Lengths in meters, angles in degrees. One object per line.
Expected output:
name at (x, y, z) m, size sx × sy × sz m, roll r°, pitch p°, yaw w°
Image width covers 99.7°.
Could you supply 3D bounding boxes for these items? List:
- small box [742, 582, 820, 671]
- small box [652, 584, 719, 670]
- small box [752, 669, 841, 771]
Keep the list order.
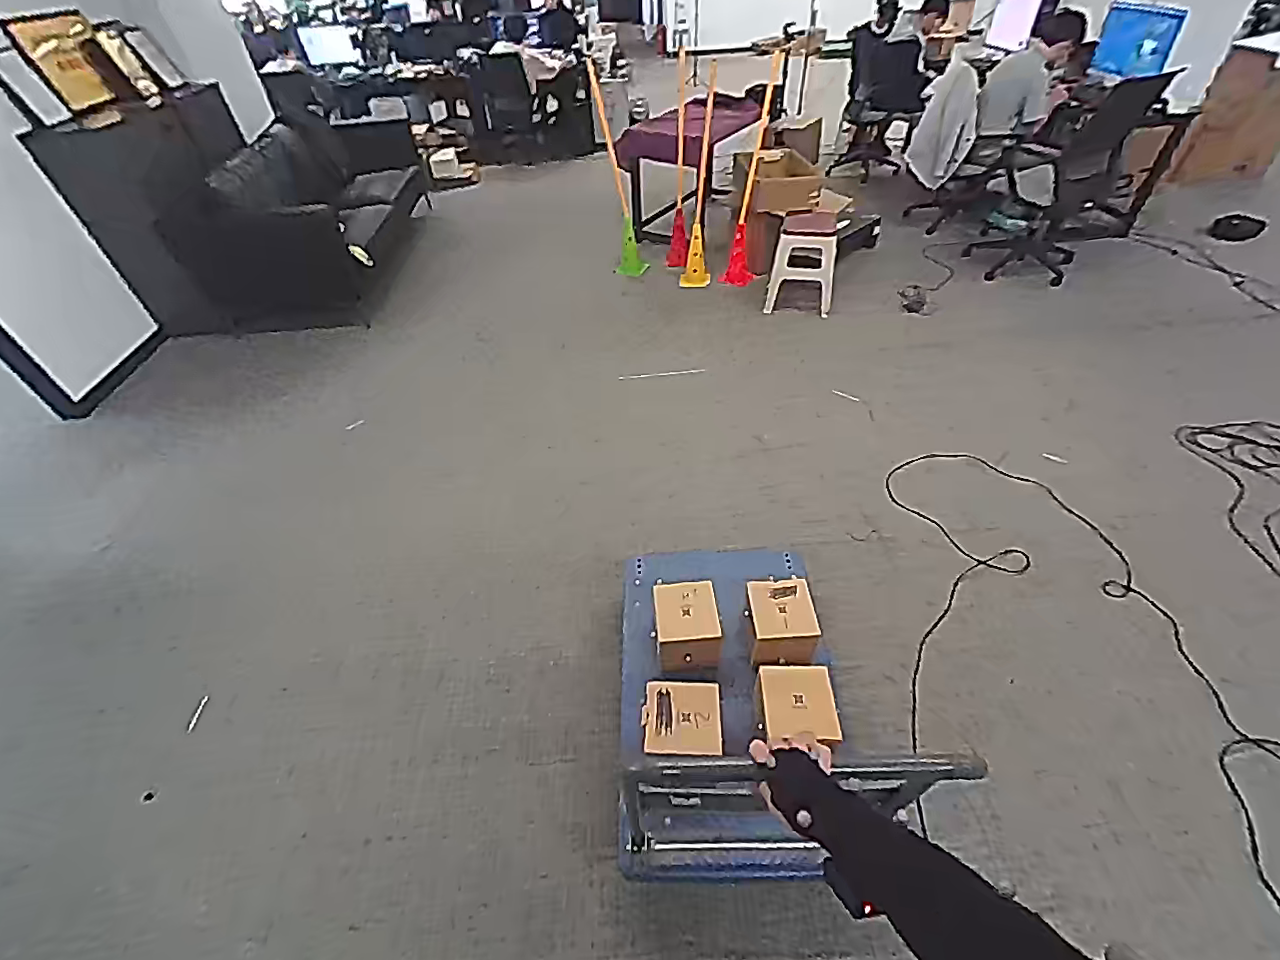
small box at (0.378, 0.402, 1.482) m, size 0.168 × 0.176 × 0.179 m, roll -3°, pitch 46°, yaw 1°
small box at (0.123, 0.409, 1.490) m, size 0.168 × 0.176 × 0.179 m, roll -4°, pitch 45°, yaw -1°
small box at (0.369, 0.580, 1.307) m, size 0.168 × 0.176 × 0.179 m, roll 0°, pitch 46°, yaw 3°
